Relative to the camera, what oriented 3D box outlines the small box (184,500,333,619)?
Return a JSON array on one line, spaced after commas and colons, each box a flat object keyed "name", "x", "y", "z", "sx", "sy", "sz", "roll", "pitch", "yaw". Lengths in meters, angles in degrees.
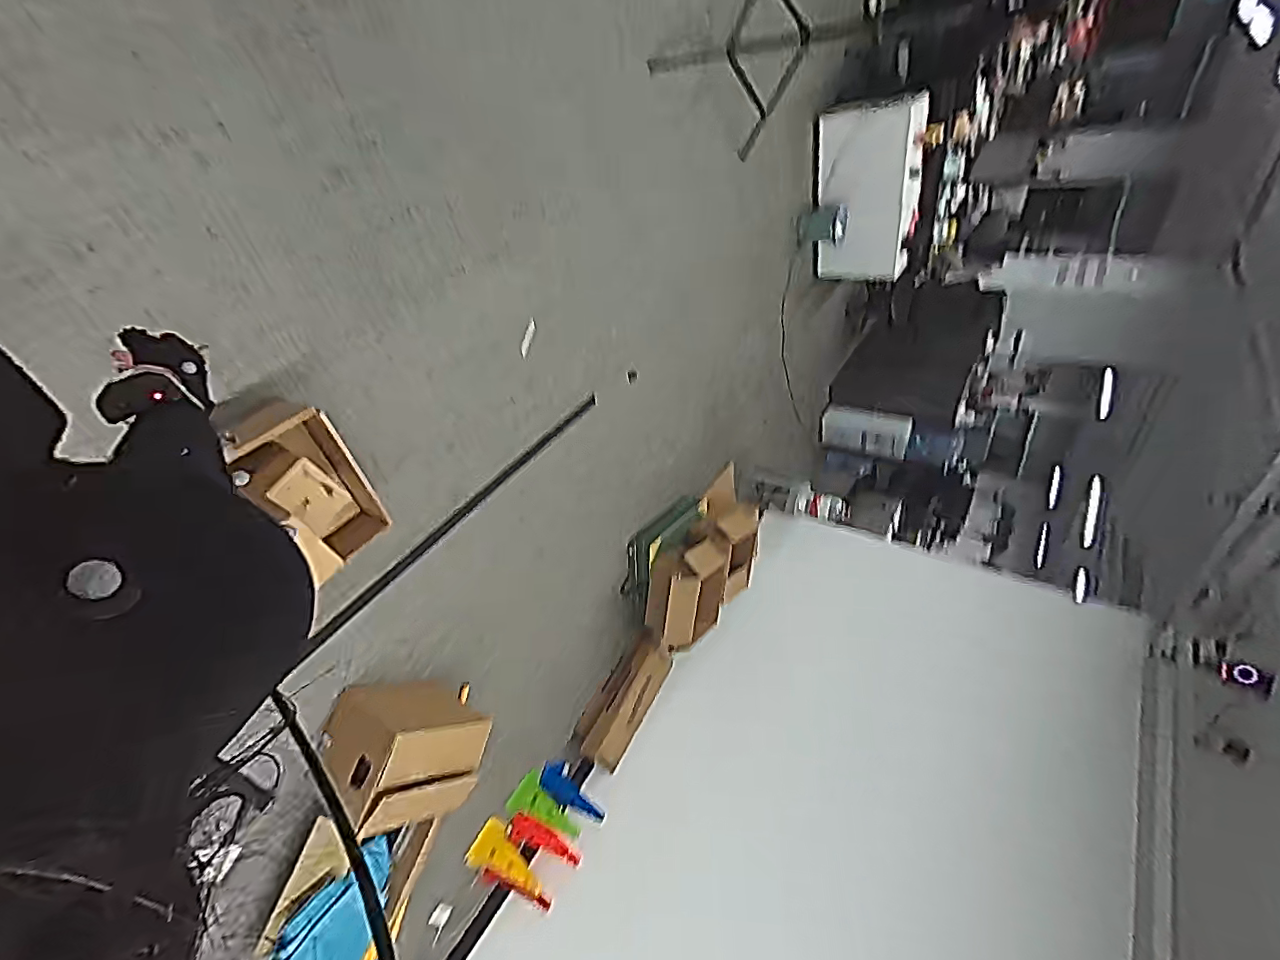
[{"name": "small box", "x": -0.818, "y": 0.162, "z": 1.161, "sx": 0.168, "sy": 0.176, "sz": 0.179, "roll": -51, "pitch": 143, "yaw": -29}]
